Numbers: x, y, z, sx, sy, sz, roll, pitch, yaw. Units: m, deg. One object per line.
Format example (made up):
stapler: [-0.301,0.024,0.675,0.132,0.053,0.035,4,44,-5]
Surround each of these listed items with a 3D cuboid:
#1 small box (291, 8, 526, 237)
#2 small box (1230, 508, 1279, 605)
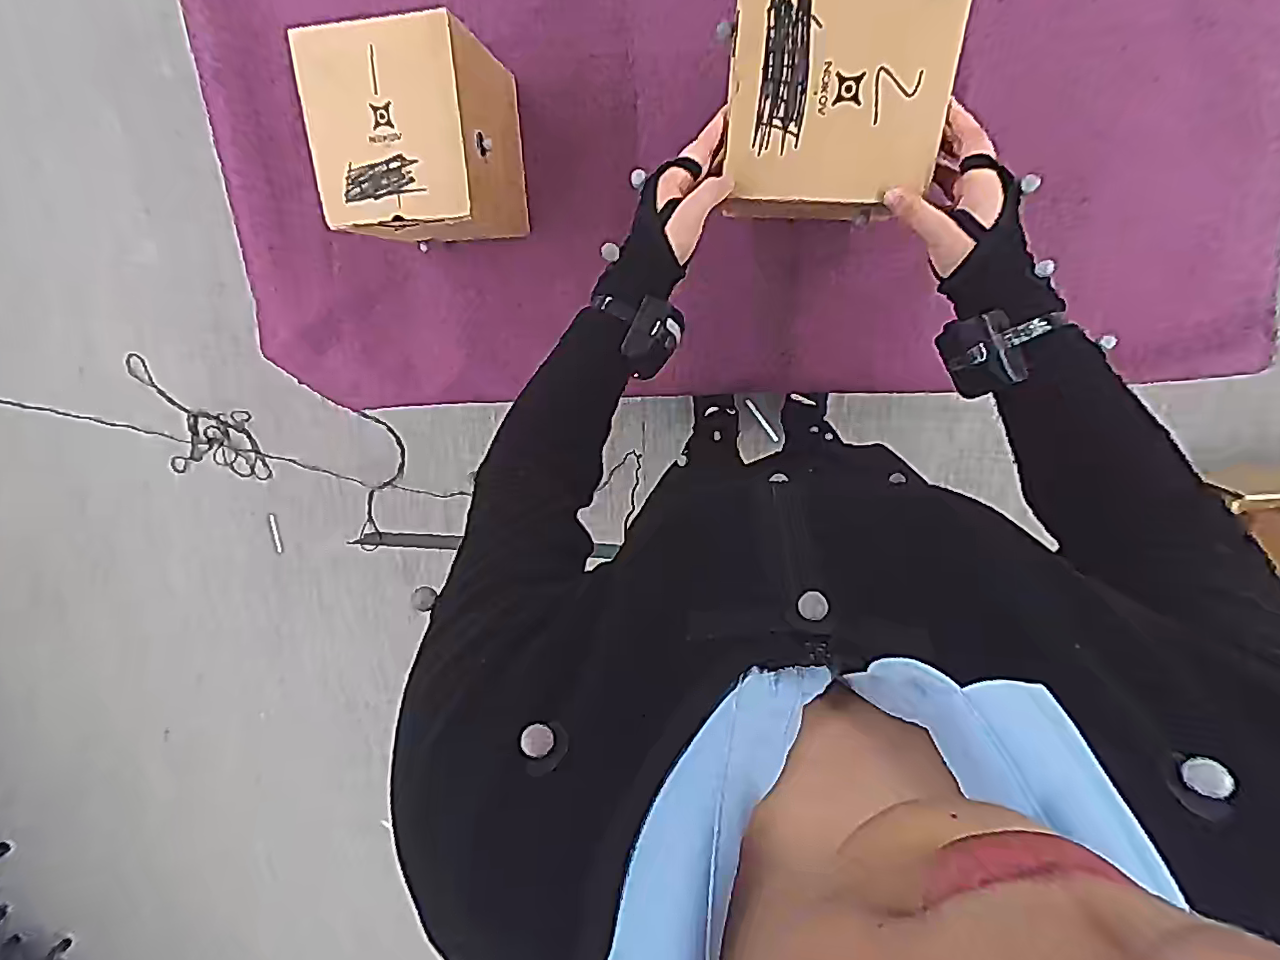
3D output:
small box: [-0.236,-0.372,0.601,0.168,0.176,0.179,1,108,9]
small box: [1.495,0.172,1.208,0.168,0.176,0.179,-5,108,10]
